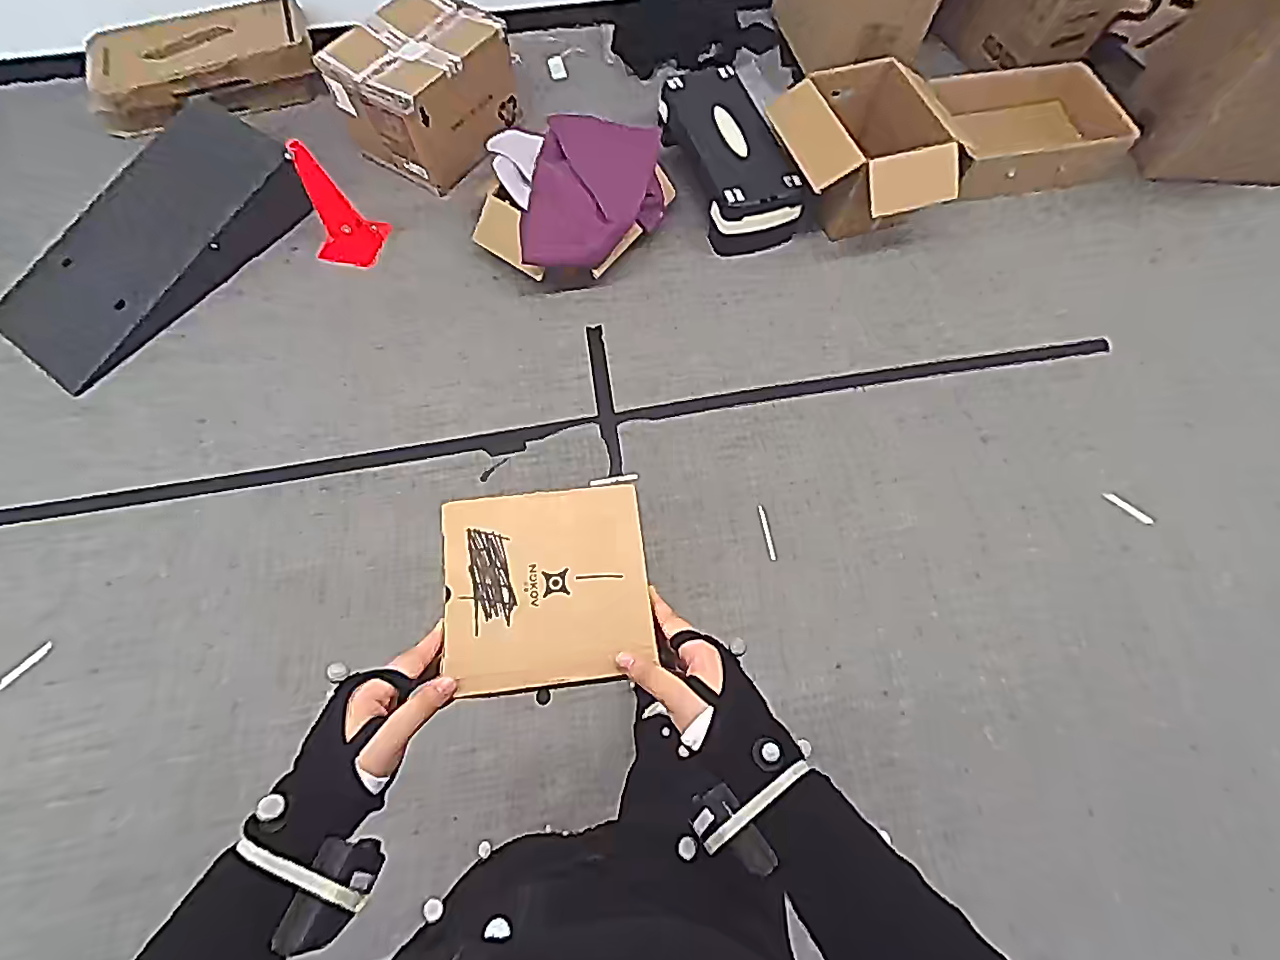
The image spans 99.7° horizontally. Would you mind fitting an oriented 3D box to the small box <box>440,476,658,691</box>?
[{"bbox_3d":[-0.082,0.109,0.530,0.179,0.176,0.168,-6,69,-5],"label":"small box"}]
